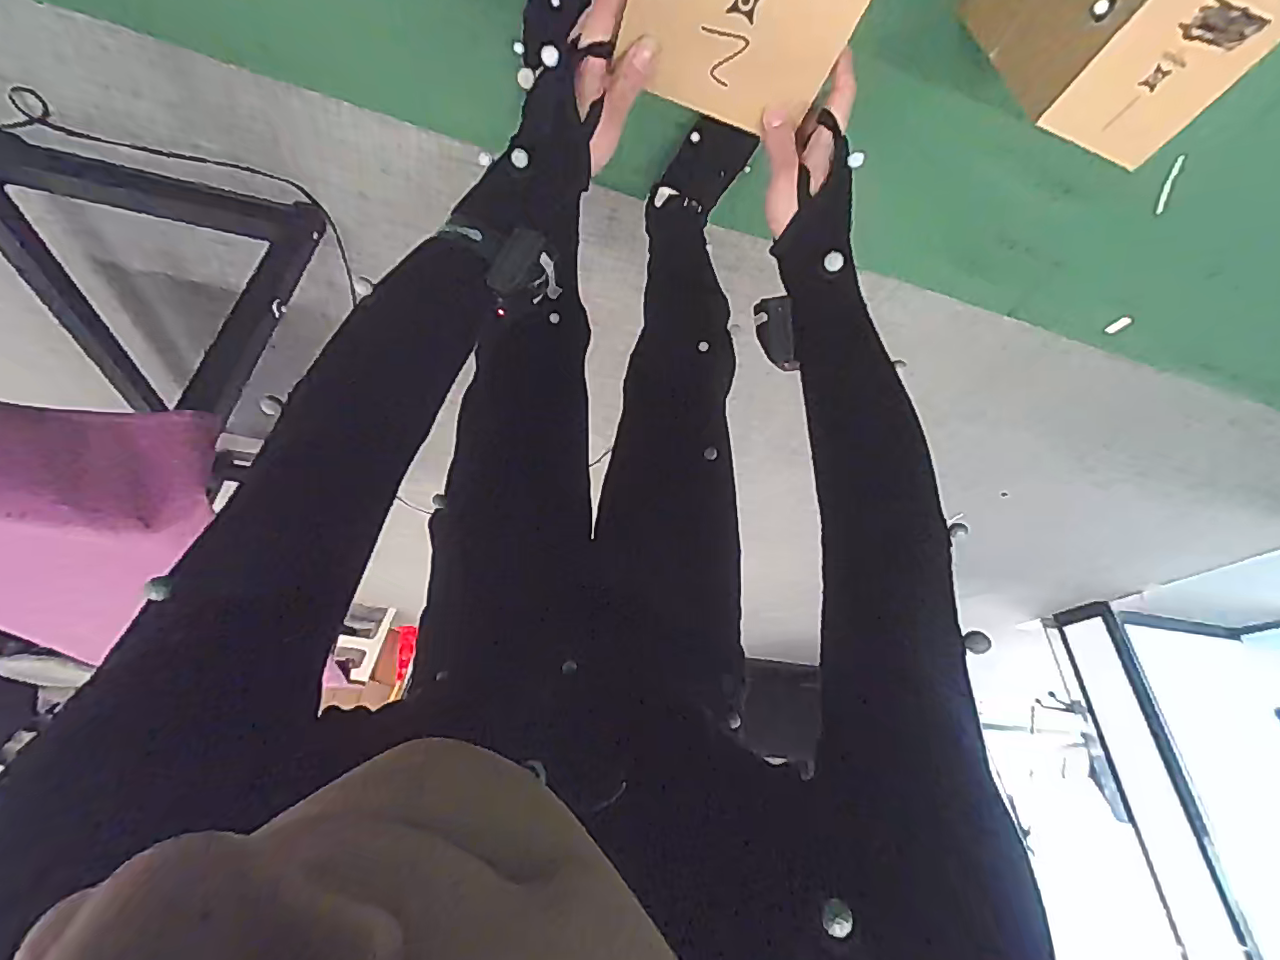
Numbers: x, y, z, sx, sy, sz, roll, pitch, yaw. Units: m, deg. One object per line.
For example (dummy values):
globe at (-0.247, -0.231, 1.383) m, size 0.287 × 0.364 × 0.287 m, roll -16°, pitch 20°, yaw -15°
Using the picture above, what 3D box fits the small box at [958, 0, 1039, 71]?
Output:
small box at (0.568, -0.652, 0.721) m, size 0.168 × 0.176 × 0.179 m, roll 11°, pitch 147°, yaw -16°

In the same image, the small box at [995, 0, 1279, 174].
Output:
small box at (0.568, -0.512, 0.634) m, size 0.168 × 0.176 × 0.179 m, roll 11°, pitch 147°, yaw -16°
